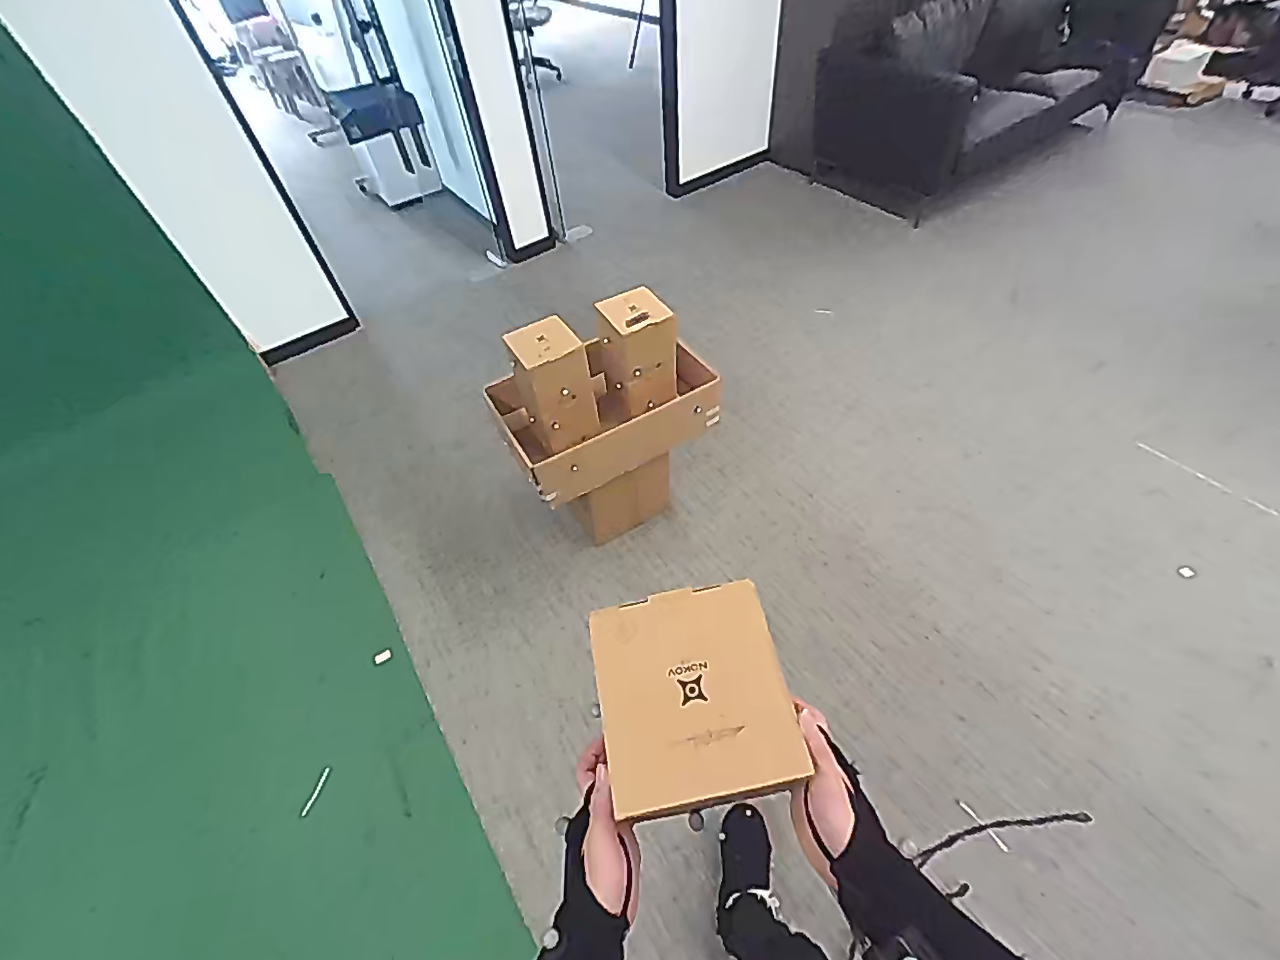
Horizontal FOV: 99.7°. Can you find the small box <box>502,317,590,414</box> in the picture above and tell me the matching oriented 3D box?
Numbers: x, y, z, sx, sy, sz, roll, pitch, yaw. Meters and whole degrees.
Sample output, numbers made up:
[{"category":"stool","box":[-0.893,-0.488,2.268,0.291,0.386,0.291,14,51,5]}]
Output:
[{"category":"small box","box":[-0.253,-0.311,1.479,0.168,0.176,0.179,-27,53,-16]}]

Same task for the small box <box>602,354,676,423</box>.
[{"category":"small box","box":[-0.003,-0.308,1.669,0.168,0.176,0.179,-26,54,-15]}]

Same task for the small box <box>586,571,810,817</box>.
[{"category":"small box","box":[0.047,0.216,0.535,0.168,0.176,0.179,-11,56,-1]}]

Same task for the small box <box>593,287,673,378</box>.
[{"category":"small box","box":[-0.014,-0.413,1.542,0.168,0.176,0.179,-25,53,-15]}]
